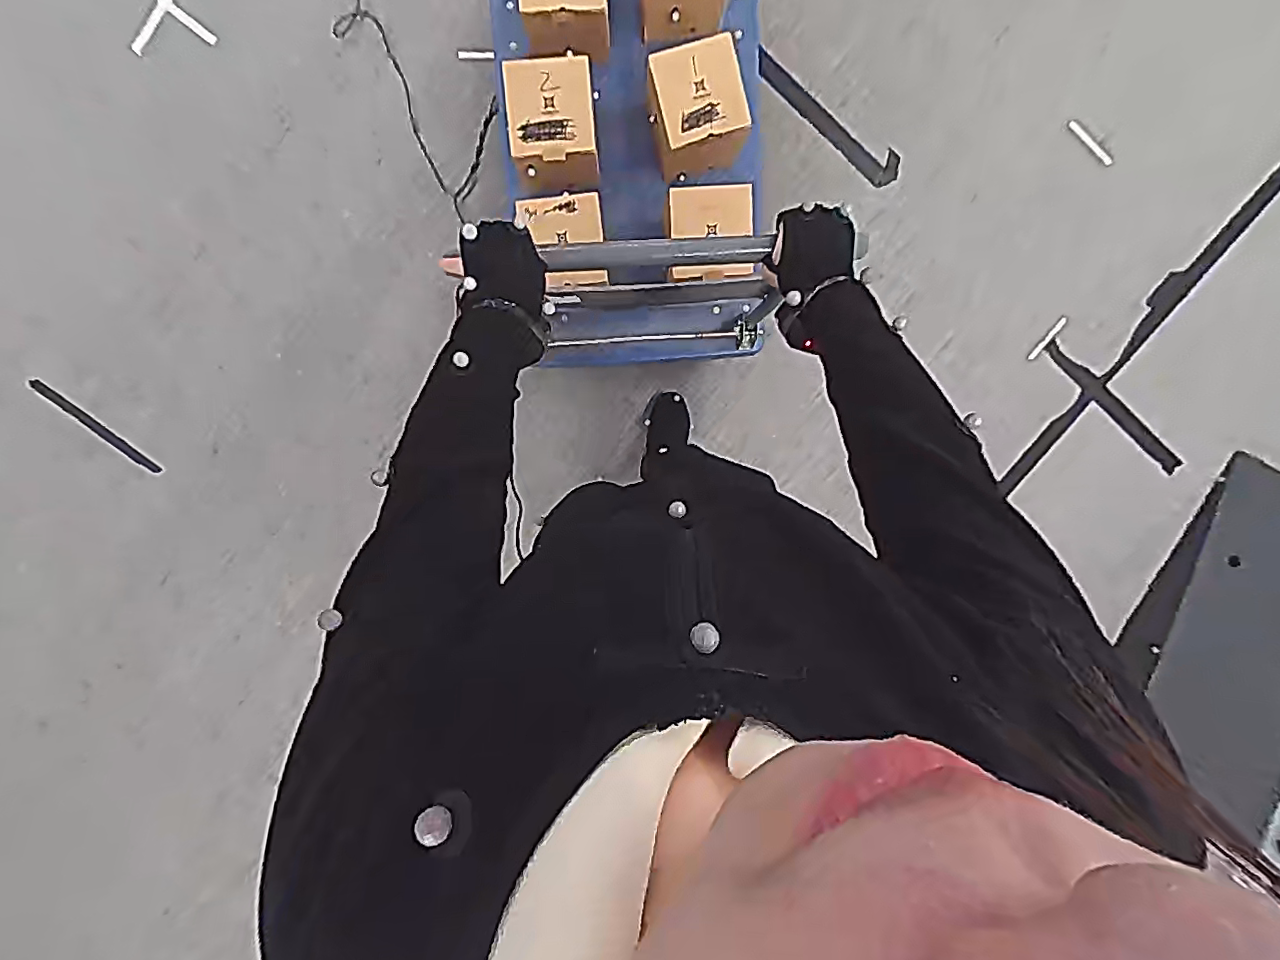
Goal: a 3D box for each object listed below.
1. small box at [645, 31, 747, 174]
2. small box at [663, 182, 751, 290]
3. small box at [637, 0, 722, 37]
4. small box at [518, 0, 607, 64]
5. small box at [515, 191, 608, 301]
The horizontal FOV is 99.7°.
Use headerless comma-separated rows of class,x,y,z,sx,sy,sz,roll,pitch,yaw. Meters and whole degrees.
small box,0.110,-0.764,1.120,0.168,0.176,0.179,-15,97,1
small box,0.139,-0.510,1.156,0.168,0.176,0.179,-3,97,-1
small box,0.078,-1.032,1.084,0.168,0.176,0.179,-6,98,0
small box,-0.152,-0.982,1.085,0.168,0.176,0.179,-2,99,-1
small box,-0.159,-0.487,1.152,0.168,0.176,0.179,-7,98,-1
